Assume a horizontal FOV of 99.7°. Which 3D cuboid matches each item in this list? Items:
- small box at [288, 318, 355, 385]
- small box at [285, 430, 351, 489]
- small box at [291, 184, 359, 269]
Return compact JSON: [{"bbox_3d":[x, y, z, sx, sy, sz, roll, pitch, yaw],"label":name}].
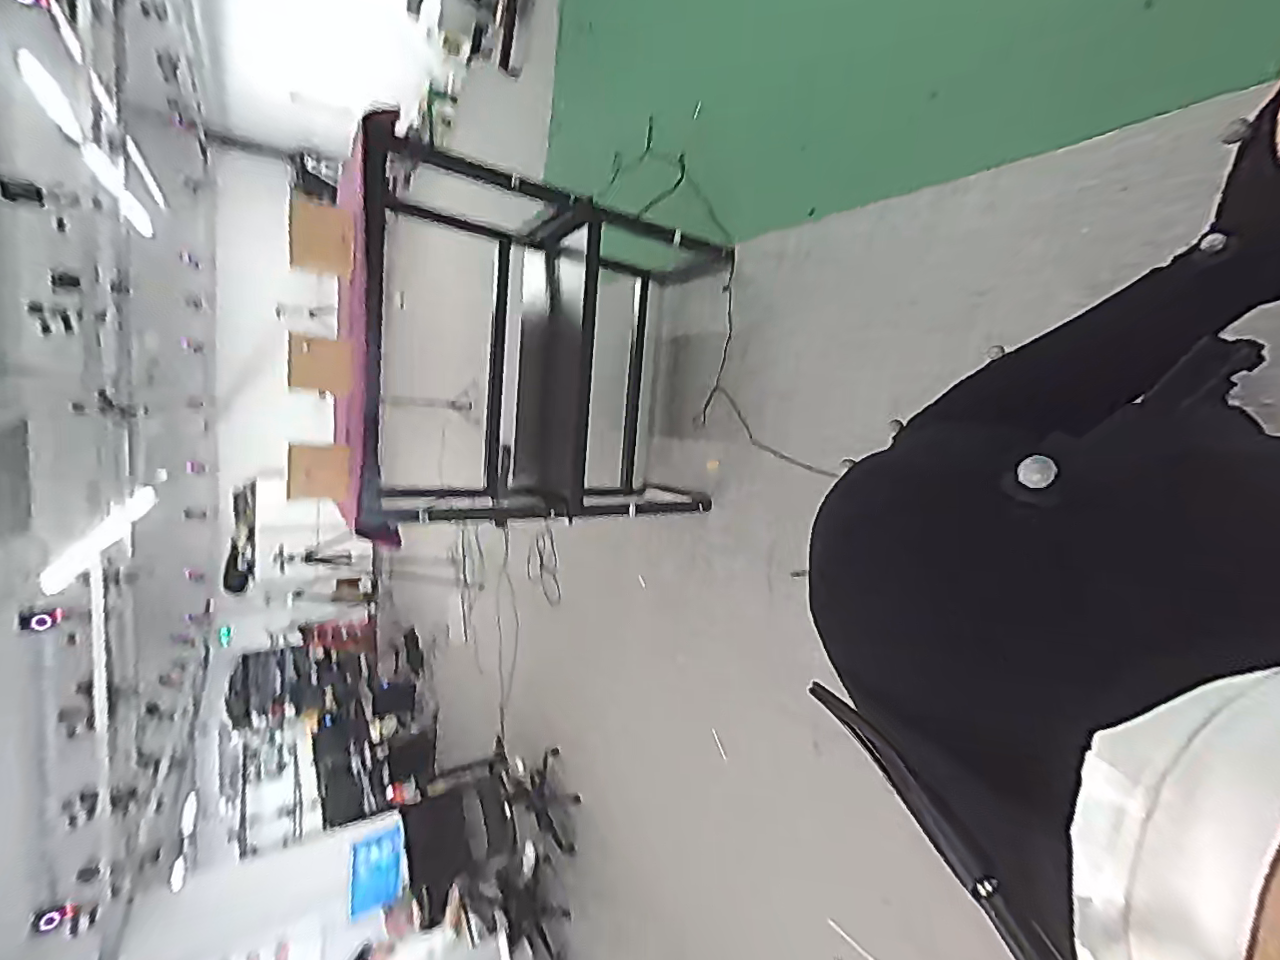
[{"bbox_3d":[-0.995,-0.396,1.688,0.168,0.176,0.179,15,101,56],"label":"small box"},{"bbox_3d":[-1.019,-0.065,1.710,0.168,0.176,0.179,8,94,55],"label":"small box"},{"bbox_3d":[-0.958,-0.764,1.647,0.168,0.176,0.179,15,101,57],"label":"small box"}]
